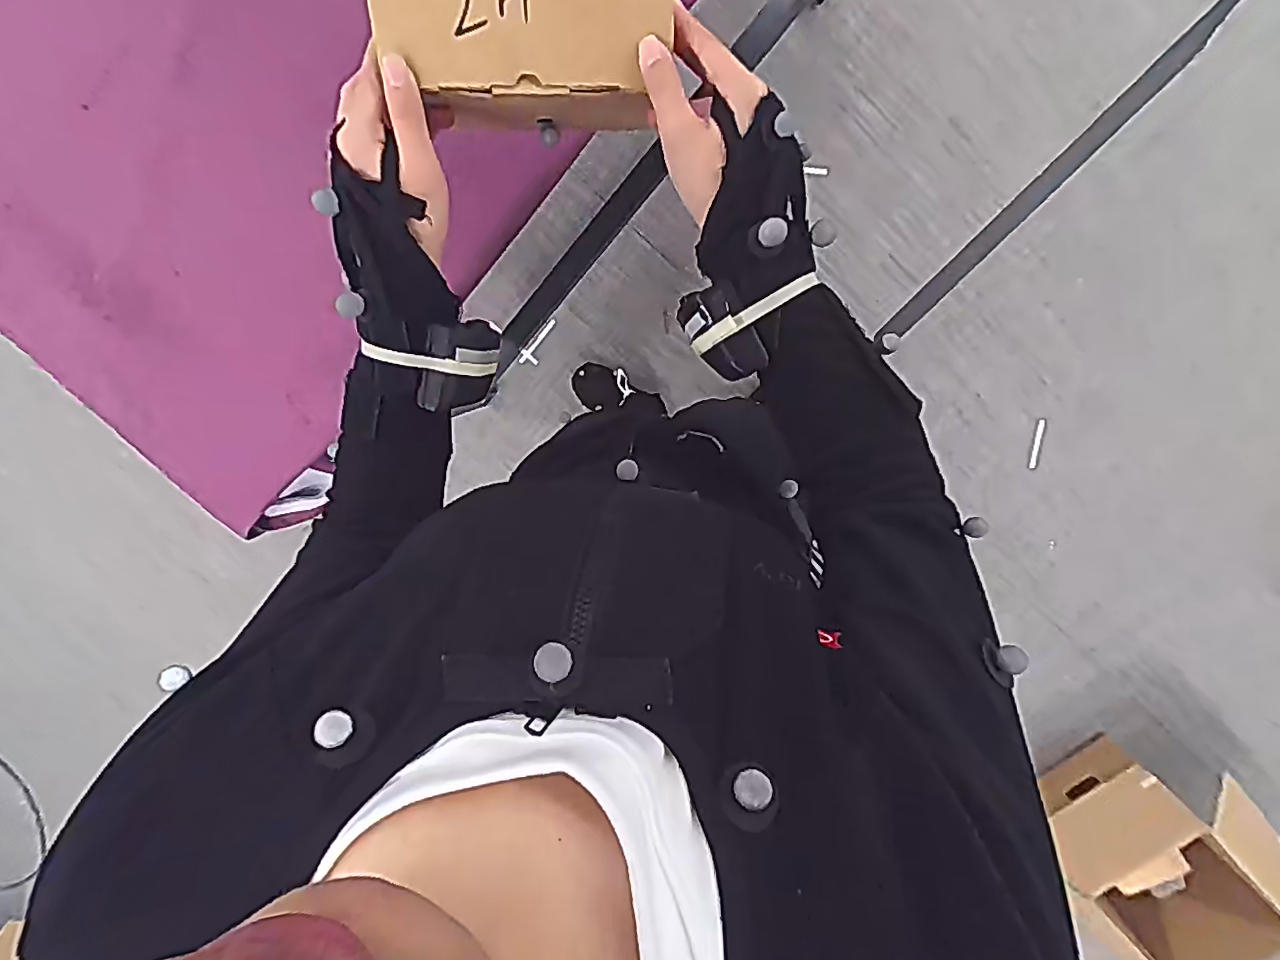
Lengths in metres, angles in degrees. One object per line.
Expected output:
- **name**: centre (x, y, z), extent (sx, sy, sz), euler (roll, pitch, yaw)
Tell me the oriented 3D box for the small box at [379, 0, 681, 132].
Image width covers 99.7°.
- **small box**: centre (-0.062, -0.340, 0.345), extent (0.168, 0.176, 0.179), euler (-1, 116, -2)
